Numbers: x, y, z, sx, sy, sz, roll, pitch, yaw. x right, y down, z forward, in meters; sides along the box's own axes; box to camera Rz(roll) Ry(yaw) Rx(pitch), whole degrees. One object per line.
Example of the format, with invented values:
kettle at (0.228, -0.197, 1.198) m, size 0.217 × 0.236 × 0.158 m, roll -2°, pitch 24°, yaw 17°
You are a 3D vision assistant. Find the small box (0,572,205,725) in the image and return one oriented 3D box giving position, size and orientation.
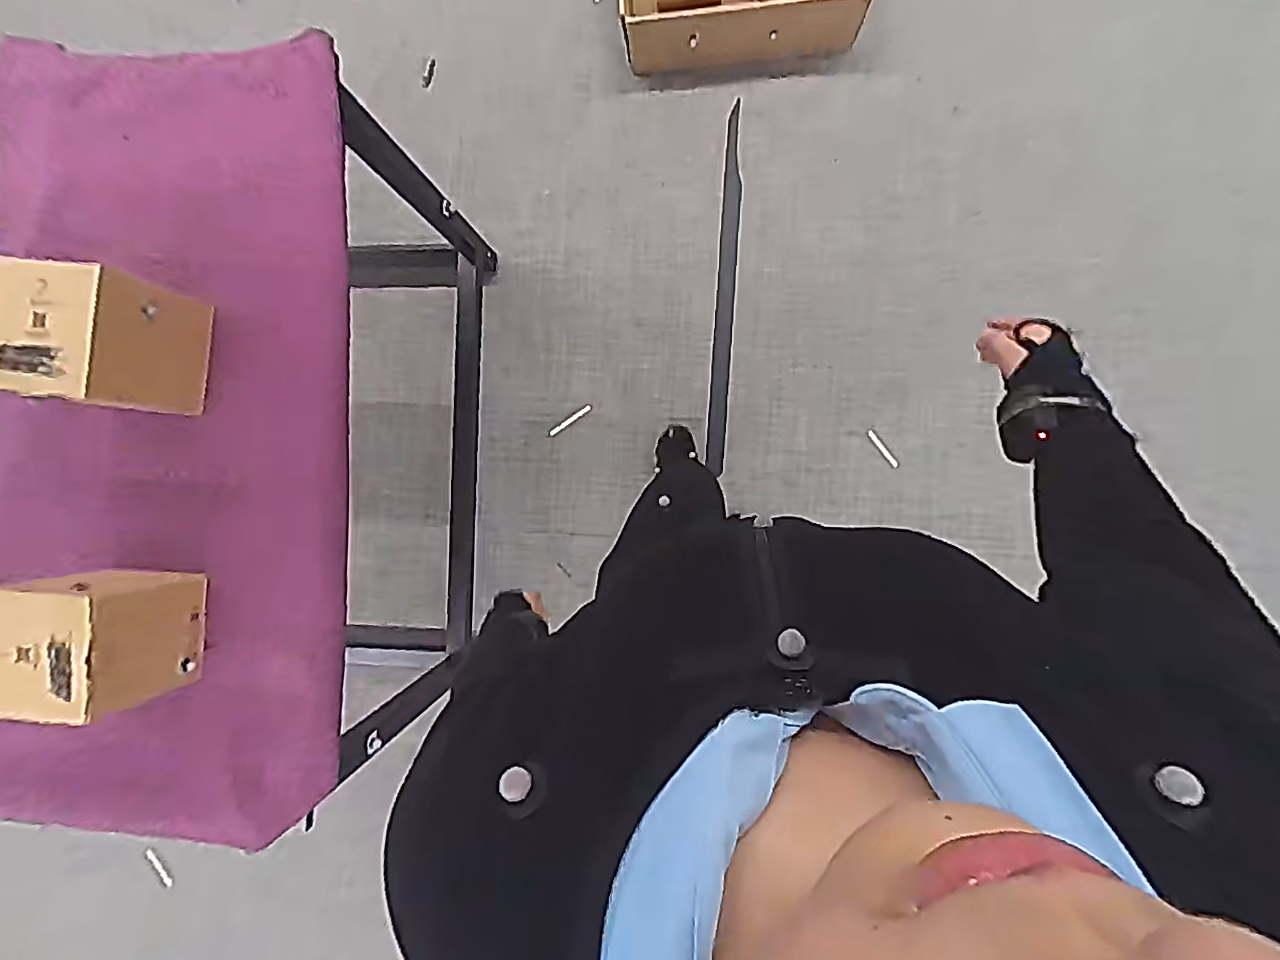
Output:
small box at (-0.774, 0.229, 0.776) m, size 0.179 × 0.176 × 0.168 m, roll 2°, pitch 89°, yaw 6°

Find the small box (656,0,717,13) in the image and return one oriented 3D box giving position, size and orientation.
small box at (0.124, -1.348, 1.379) m, size 0.179 × 0.176 × 0.168 m, roll -4°, pitch 88°, yaw 5°

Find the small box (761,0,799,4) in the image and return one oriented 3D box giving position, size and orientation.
small box at (0.383, -1.358, 1.356) m, size 0.168 × 0.176 × 0.179 m, roll -2°, pitch 90°, yaw 6°
